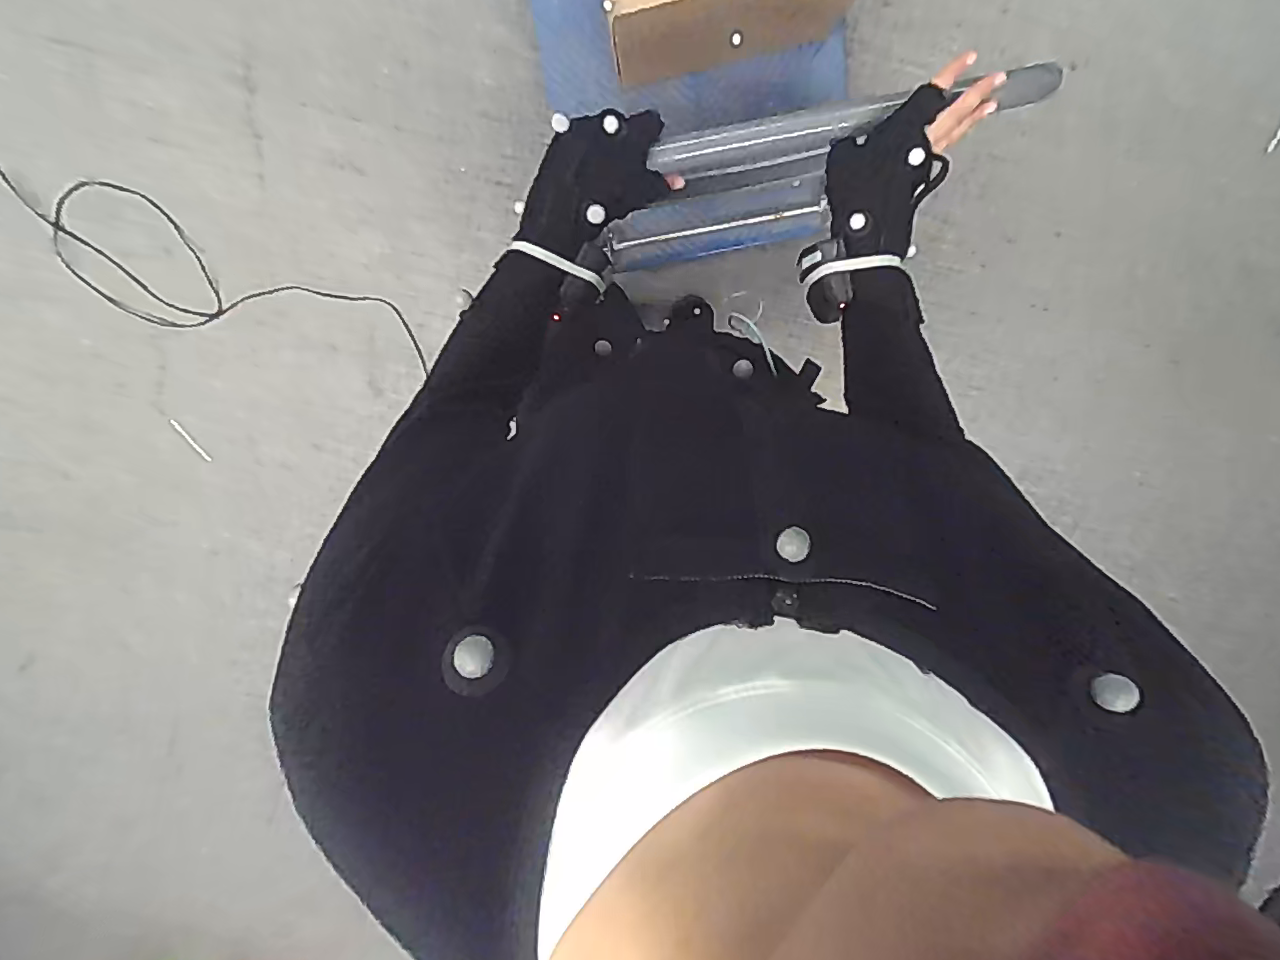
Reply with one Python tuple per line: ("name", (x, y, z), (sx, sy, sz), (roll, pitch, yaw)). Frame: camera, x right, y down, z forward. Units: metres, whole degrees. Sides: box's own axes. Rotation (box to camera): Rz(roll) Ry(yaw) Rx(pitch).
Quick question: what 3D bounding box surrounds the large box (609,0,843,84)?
("large box", (0.129, -0.910, 0.864), (0.408, 0.320, 0.320), (-12, 109, 7))
